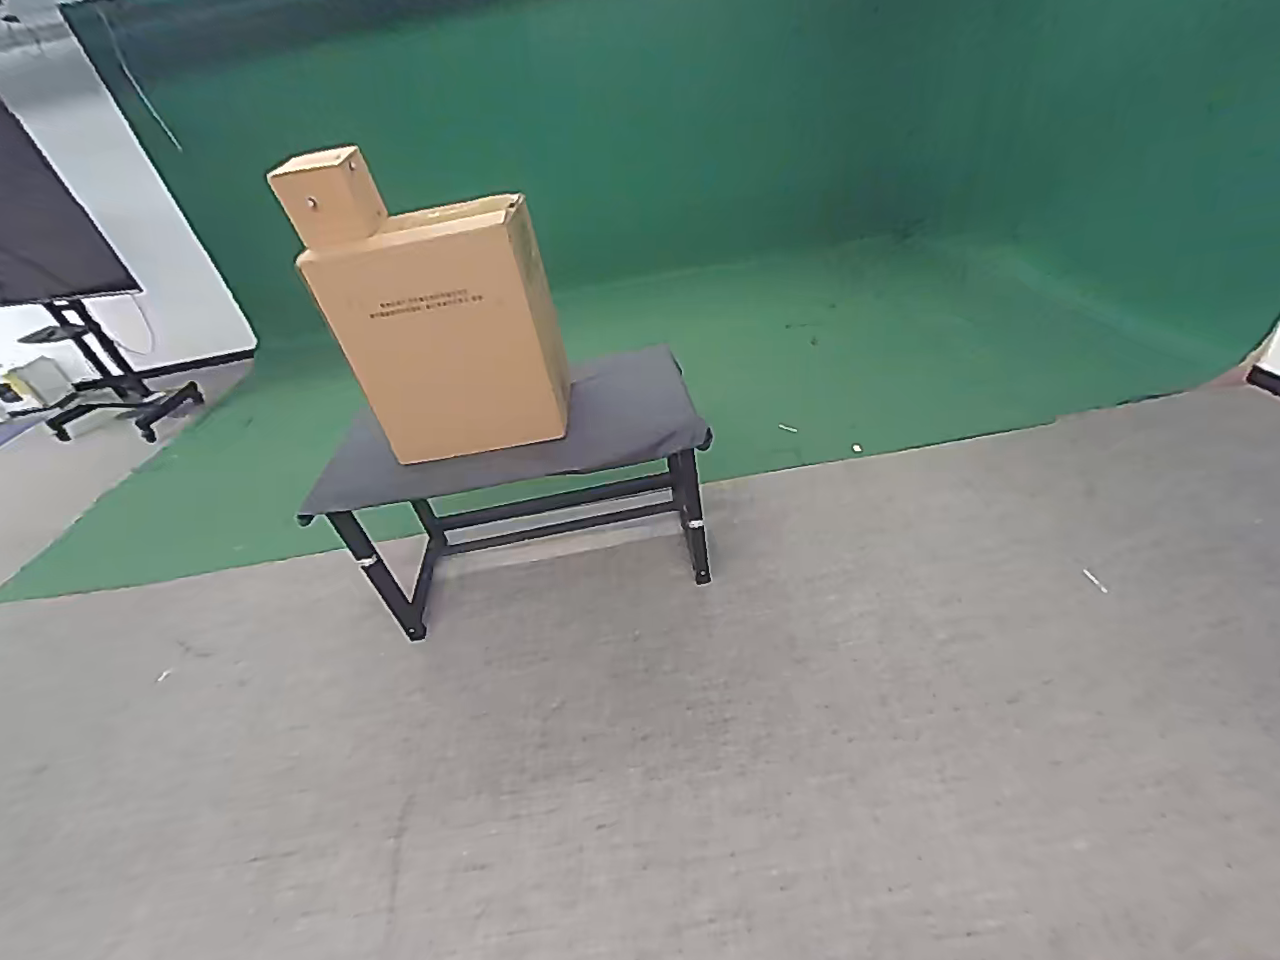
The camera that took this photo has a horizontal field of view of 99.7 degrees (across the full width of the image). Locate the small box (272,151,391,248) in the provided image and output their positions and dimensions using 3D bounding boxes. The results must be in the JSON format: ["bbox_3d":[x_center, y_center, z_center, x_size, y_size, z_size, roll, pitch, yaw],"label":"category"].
[{"bbox_3d":[-0.774,-0.709,1.375,0.179,0.176,0.168,-9,45,3],"label":"small box"}]
